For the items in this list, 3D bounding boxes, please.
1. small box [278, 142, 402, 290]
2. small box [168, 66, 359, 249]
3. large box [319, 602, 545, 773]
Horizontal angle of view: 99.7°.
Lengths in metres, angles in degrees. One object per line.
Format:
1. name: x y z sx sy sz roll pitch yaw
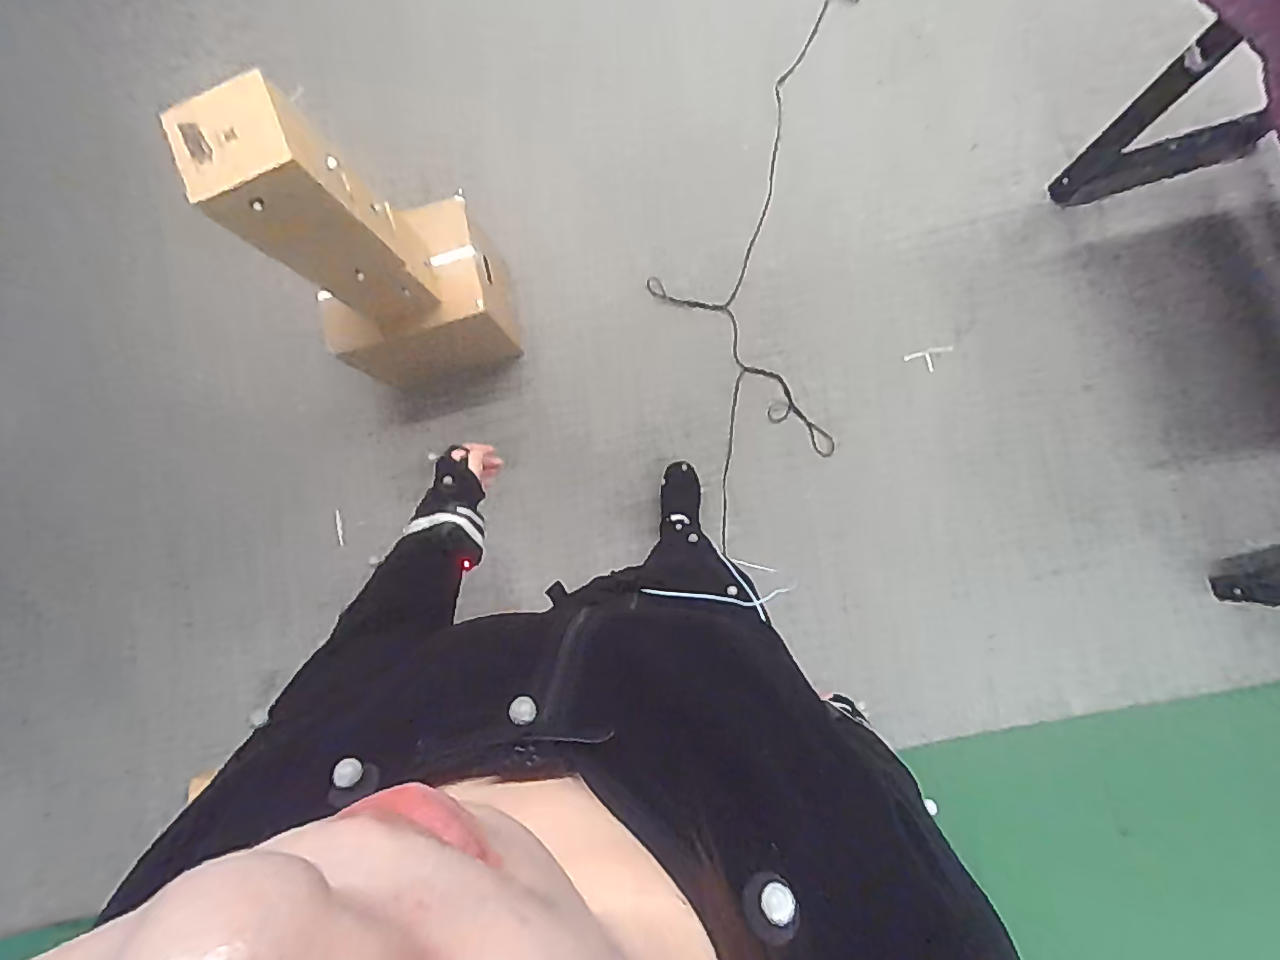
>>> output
1. small box: -0.598 -0.508 1.065 0.179 0.176 0.168 -22 84 2
2. small box: -0.614 -0.520 0.901 0.179 0.176 0.168 -23 84 2
3. large box: -0.500 0.522 1.365 0.408 0.320 0.320 -14 83 5
